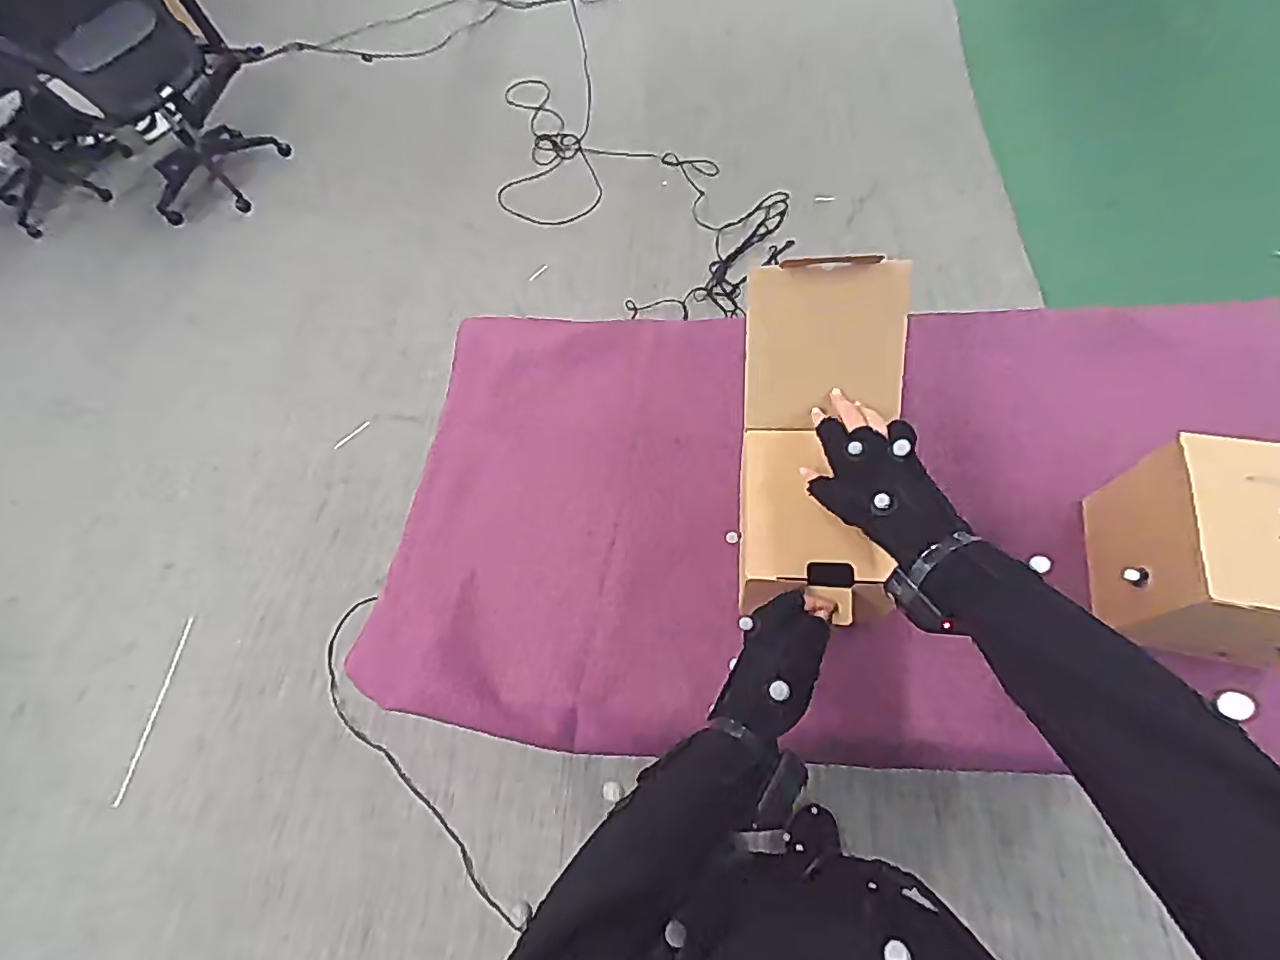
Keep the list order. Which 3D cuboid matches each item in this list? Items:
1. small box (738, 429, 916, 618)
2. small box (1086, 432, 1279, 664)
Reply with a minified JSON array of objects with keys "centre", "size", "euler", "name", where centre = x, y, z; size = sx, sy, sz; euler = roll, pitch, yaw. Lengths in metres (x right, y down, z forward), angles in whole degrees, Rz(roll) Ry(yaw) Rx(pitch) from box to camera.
[{"centre":[0.201,0.057,0.628],"size":[0.168,0.176,0.179],"euler":[1,64,9],"name":"small box"},{"centre":[0.600,0.076,0.553],"size":[0.168,0.176,0.179],"euler":[10,66,14],"name":"small box"}]
